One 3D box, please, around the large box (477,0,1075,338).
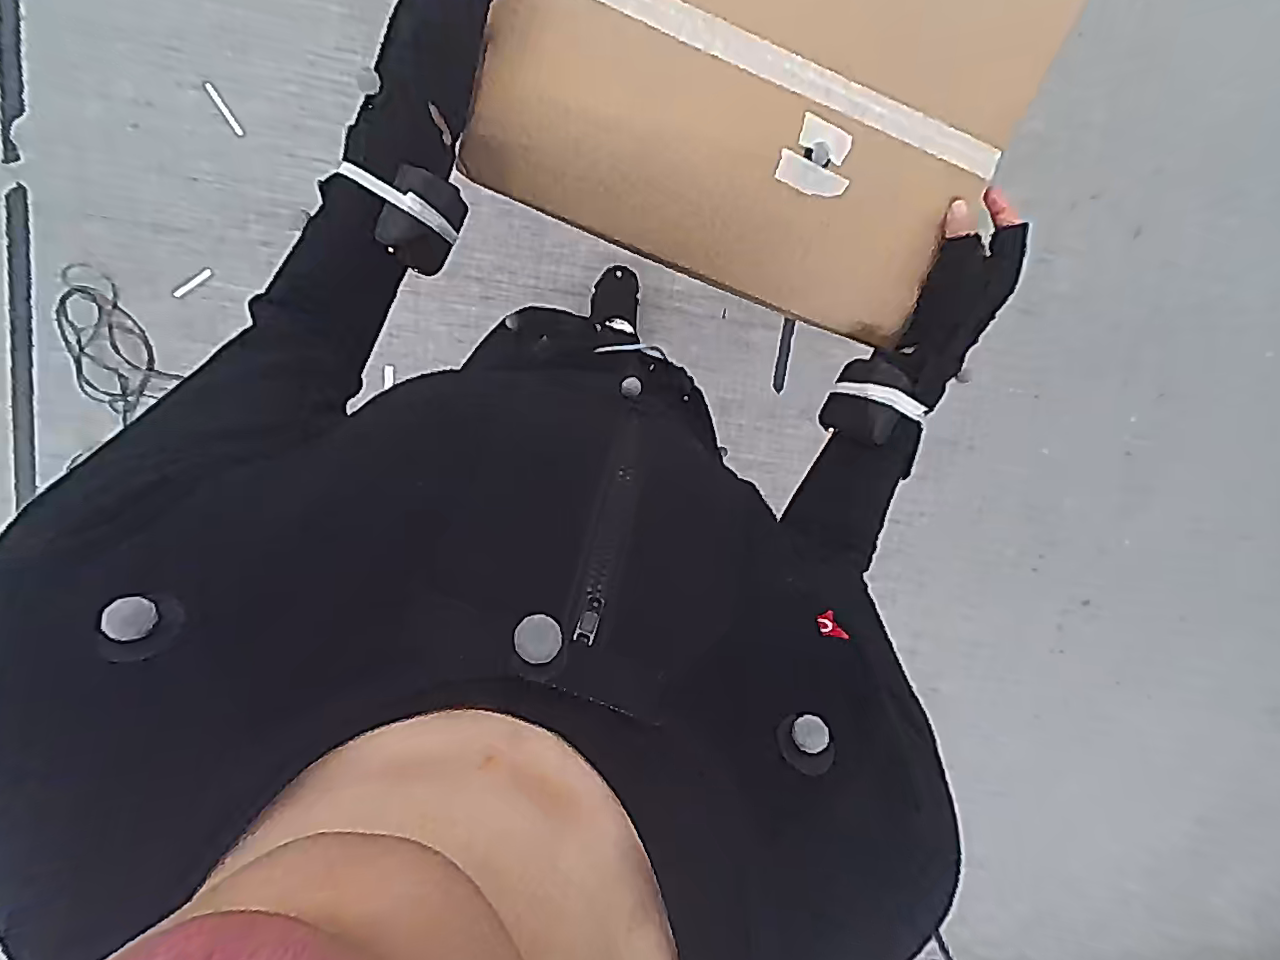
[{"bbox_3d":[0.098,-0.379,0.558,0.408,0.320,0.320,20,111,-8],"label":"large box"}]
